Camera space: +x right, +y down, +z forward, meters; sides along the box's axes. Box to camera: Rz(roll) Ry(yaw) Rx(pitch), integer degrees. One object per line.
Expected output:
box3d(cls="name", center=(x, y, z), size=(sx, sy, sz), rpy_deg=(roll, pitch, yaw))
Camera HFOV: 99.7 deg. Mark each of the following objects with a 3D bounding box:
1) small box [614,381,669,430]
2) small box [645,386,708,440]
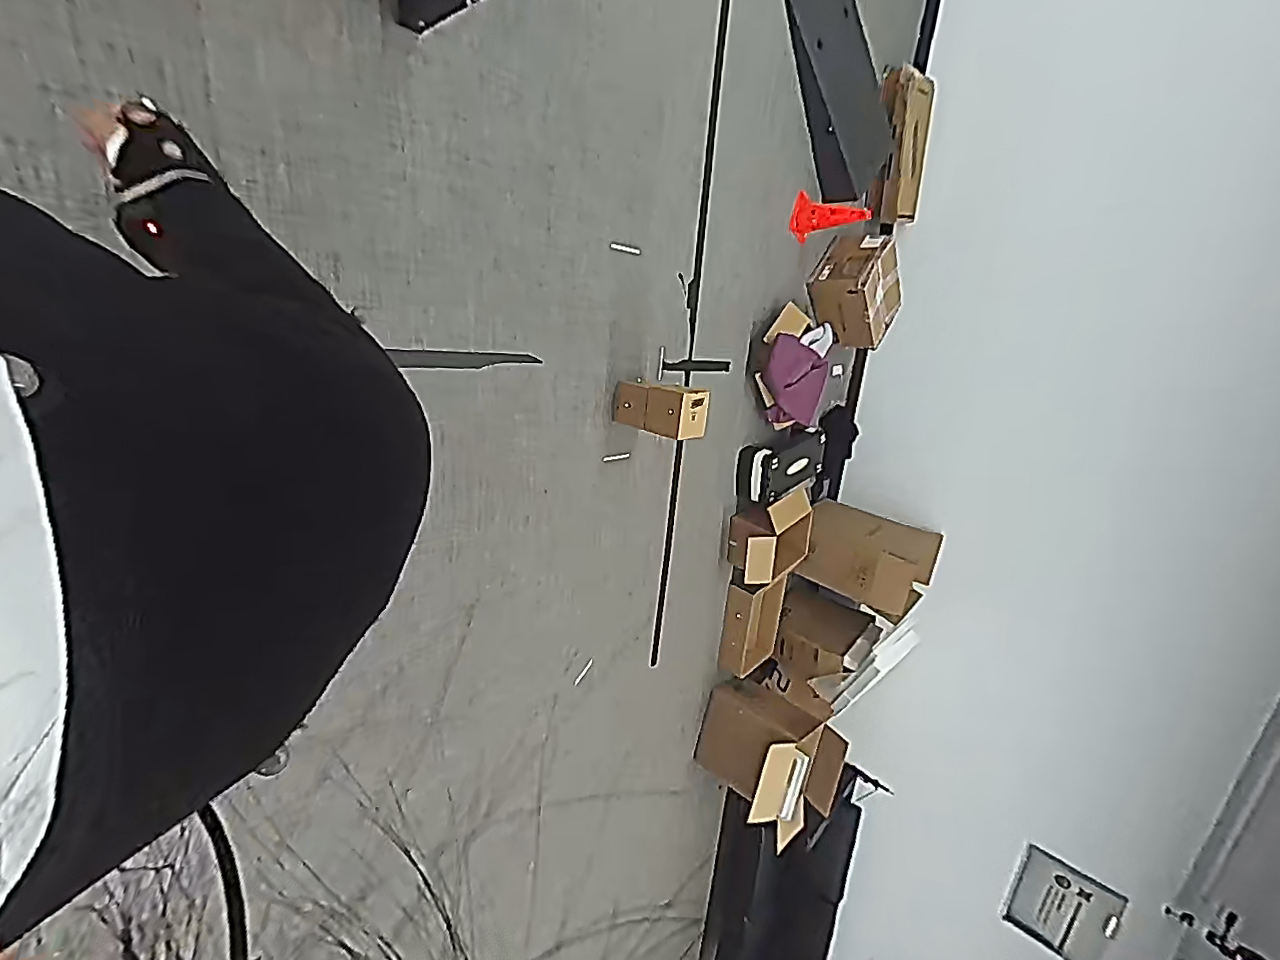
box3d(cls="small box", center=(0.013, -0.301, 2.164), size=(0.179, 0.176, 0.168), rpy_deg=(-10, 114, -46))
box3d(cls="small box", center=(0.135, -0.260, 2.059), size=(0.168, 0.176, 0.179), rpy_deg=(-13, 116, -46))
